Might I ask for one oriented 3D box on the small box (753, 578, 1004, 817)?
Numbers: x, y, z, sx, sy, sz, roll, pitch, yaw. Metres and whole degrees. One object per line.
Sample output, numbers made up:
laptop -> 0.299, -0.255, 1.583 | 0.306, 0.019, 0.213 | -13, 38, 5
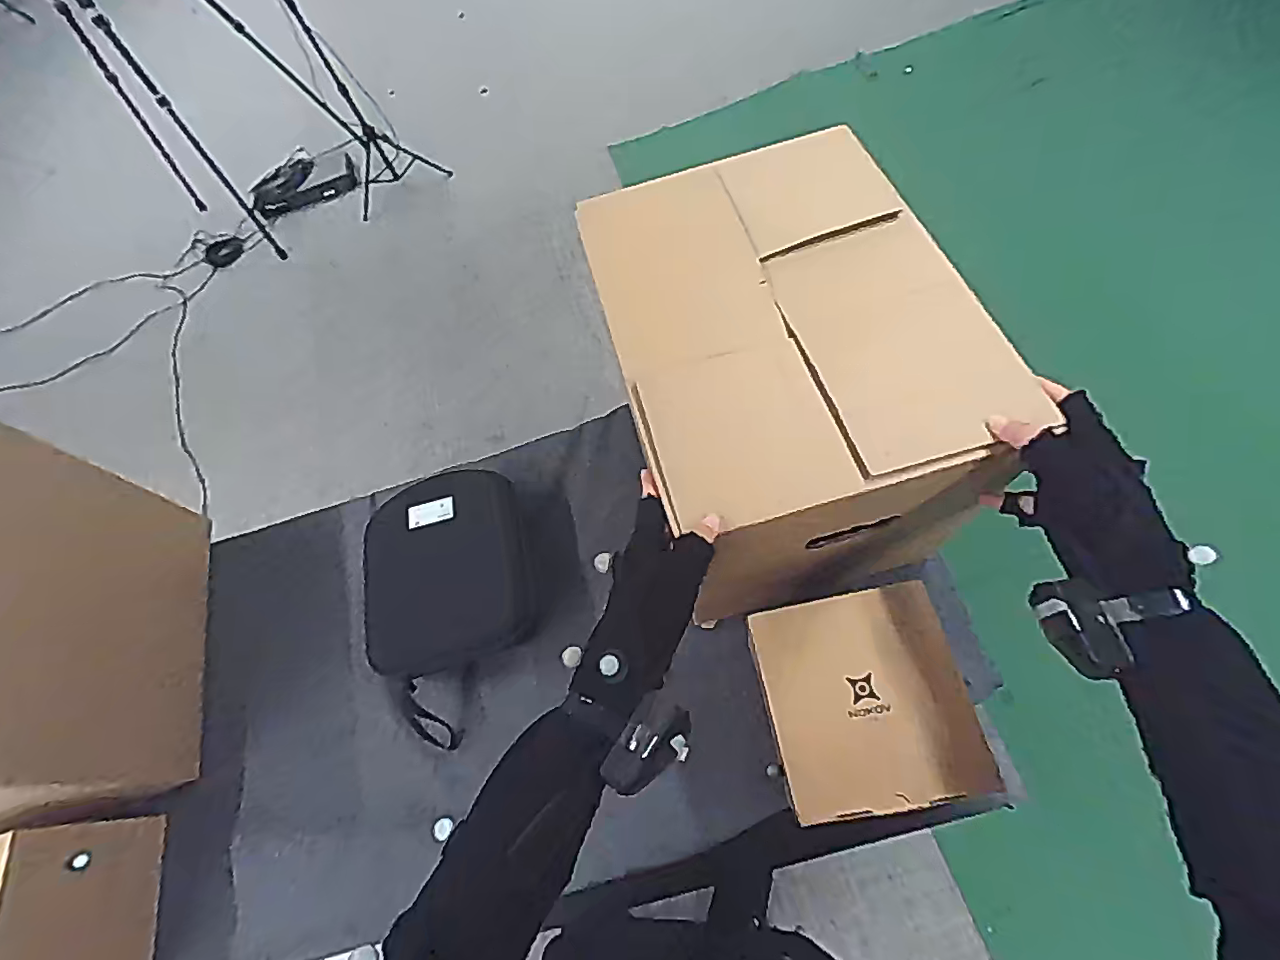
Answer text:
small box -> 0.211, 0.216, 0.542 | 0.168, 0.176, 0.179 | -13, 64, 6
